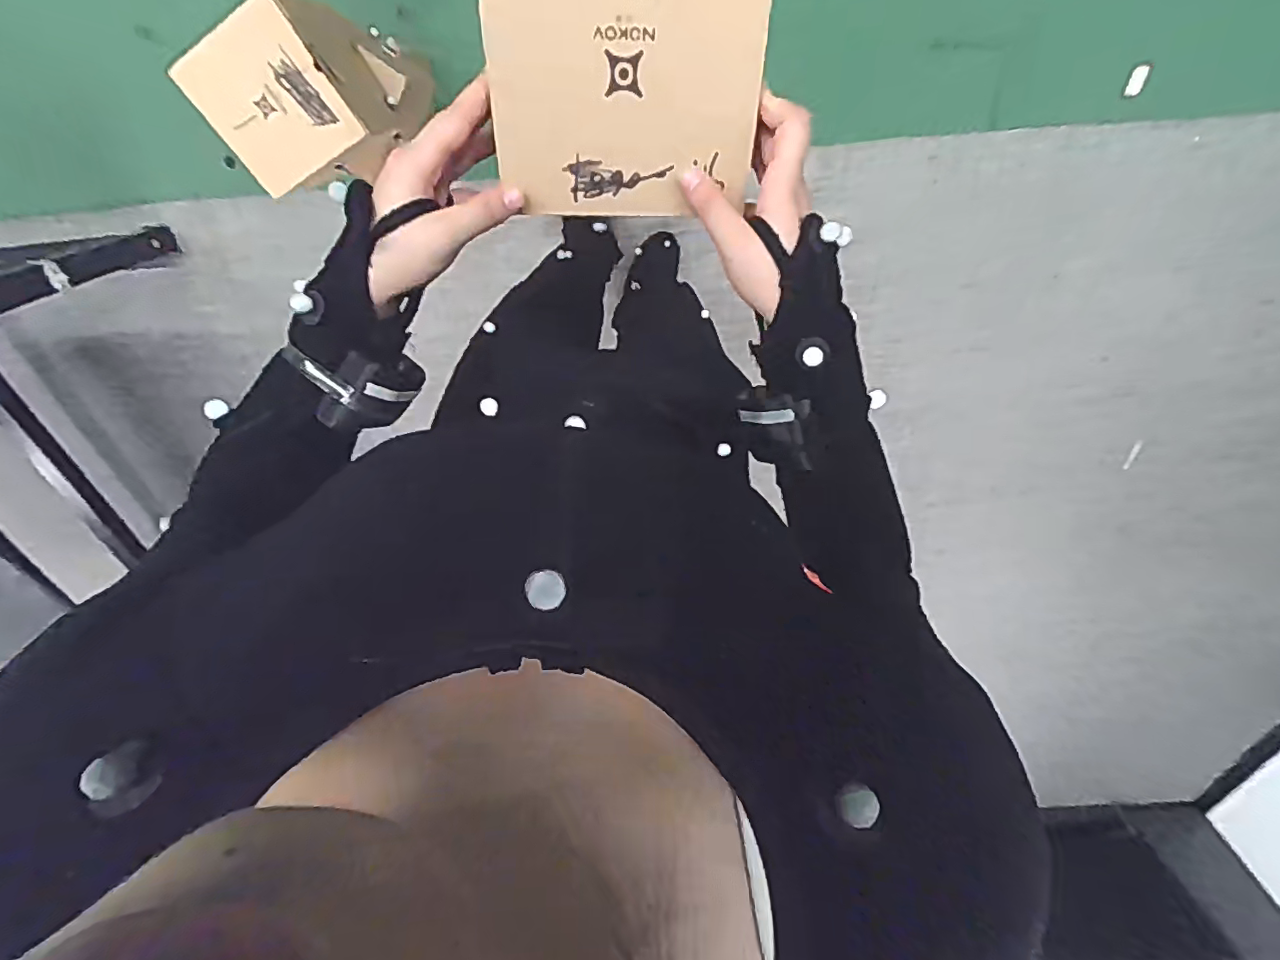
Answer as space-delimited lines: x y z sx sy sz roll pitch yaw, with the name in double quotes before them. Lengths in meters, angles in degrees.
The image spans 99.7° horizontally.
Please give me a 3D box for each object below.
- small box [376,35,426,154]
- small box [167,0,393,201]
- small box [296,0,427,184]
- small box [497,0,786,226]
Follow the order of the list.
"small box" -0.505 -0.720 1.006 0.168 0.176 0.179 9 125 -9
"small box" -0.471 -0.523 0.745 0.179 0.176 0.168 -23 125 15
"small box" -0.468 -0.621 0.878 0.168 0.176 0.179 26 120 -21
"small box" -0.004 -0.294 0.382 0.168 0.176 0.179 0 129 -3
